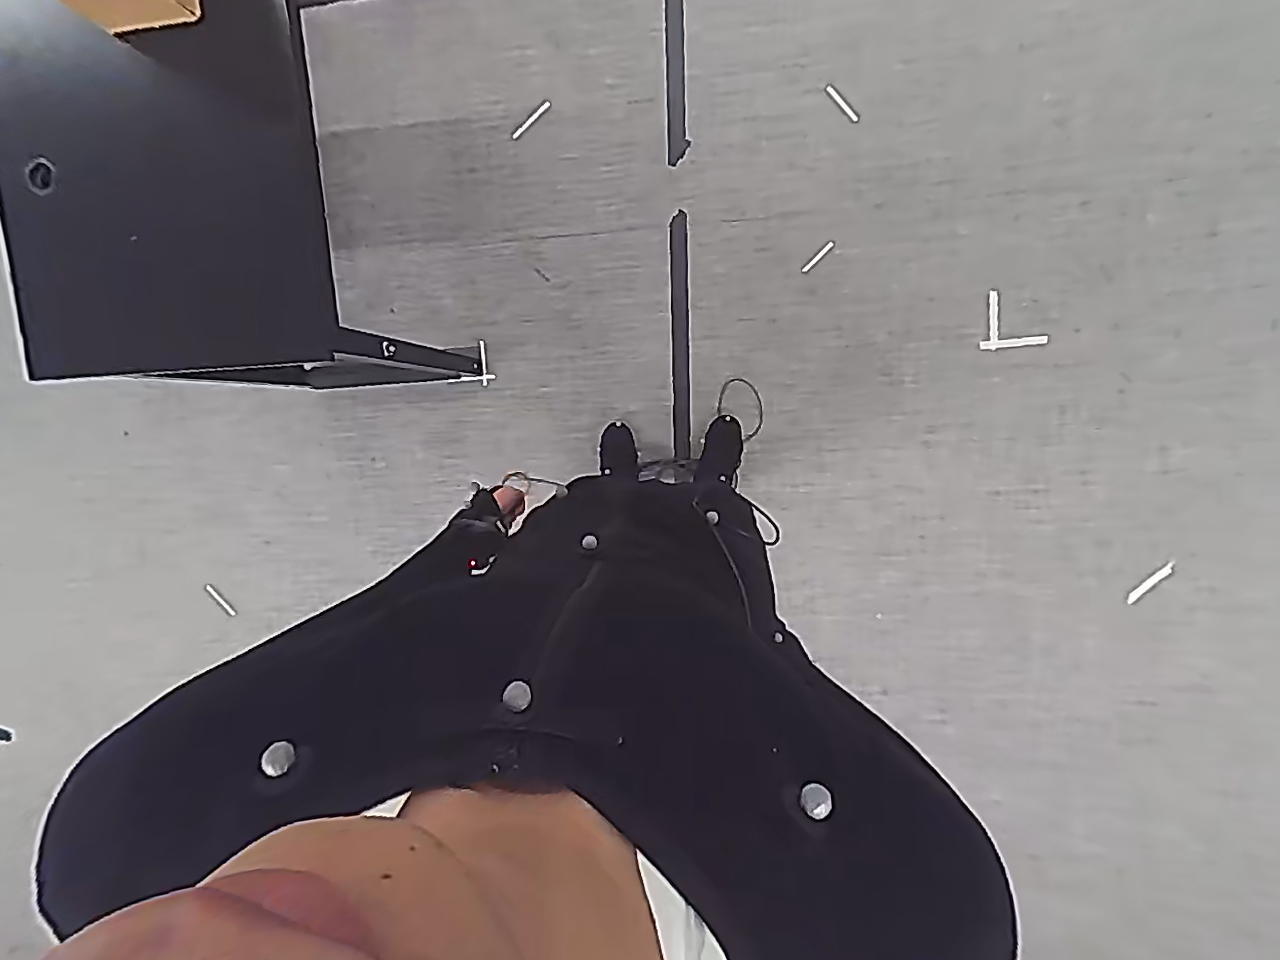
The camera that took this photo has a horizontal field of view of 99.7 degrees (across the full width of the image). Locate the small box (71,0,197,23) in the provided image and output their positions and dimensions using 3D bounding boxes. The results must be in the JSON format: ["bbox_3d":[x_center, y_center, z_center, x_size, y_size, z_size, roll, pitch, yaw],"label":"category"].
[{"bbox_3d":[-0.814,-0.822,0.797,0.179,0.176,0.168,-3,98,6],"label":"small box"}]
